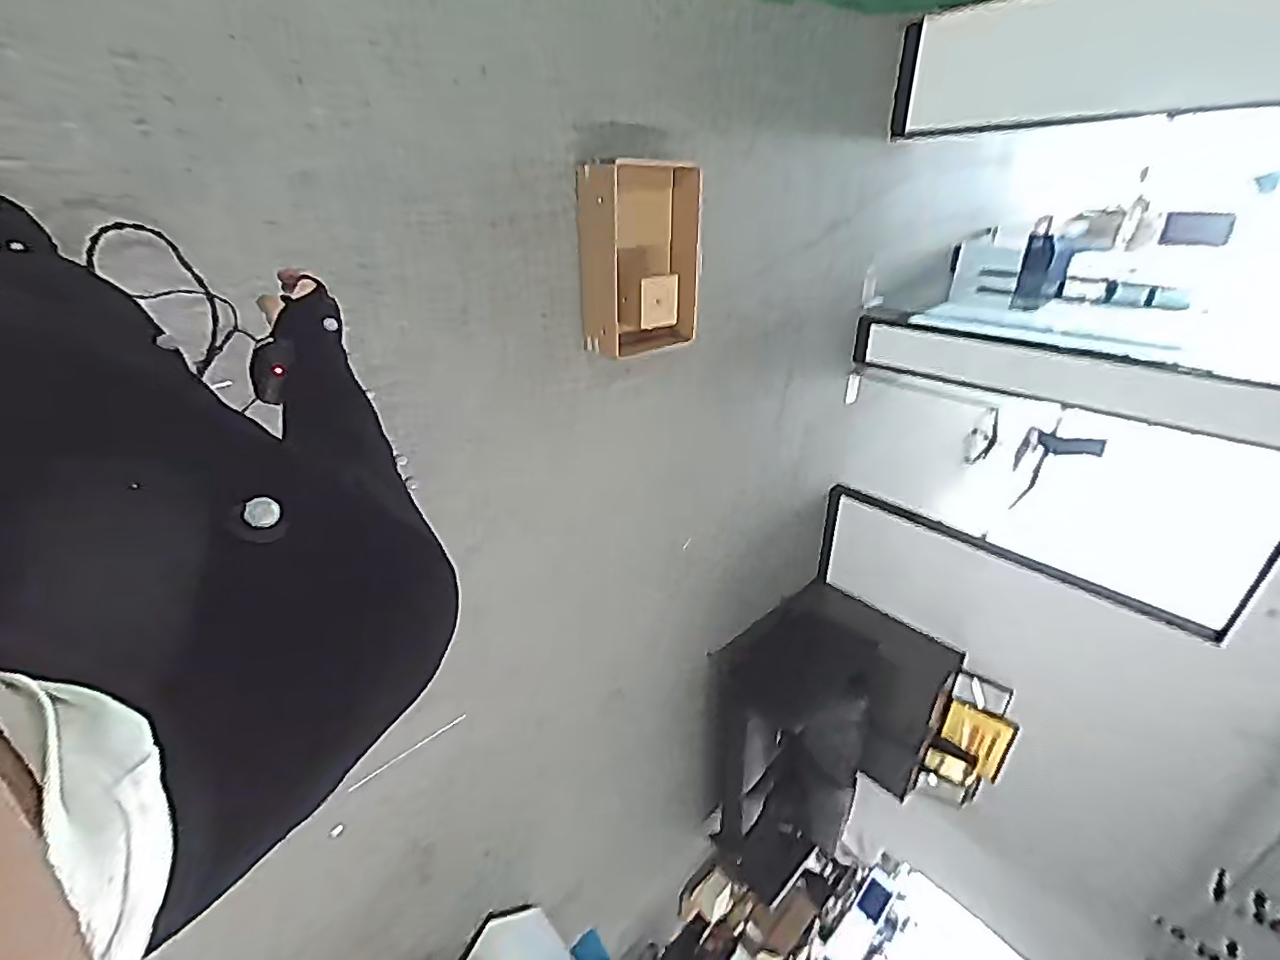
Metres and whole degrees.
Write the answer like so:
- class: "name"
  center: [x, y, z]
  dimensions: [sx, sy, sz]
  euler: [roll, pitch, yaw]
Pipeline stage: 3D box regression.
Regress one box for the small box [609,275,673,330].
- class: "small box"
  center: [-0.001, -0.641, 1.940]
  dimensions: [0.179, 0.176, 0.168]
  euler: [-22, 124, -37]
